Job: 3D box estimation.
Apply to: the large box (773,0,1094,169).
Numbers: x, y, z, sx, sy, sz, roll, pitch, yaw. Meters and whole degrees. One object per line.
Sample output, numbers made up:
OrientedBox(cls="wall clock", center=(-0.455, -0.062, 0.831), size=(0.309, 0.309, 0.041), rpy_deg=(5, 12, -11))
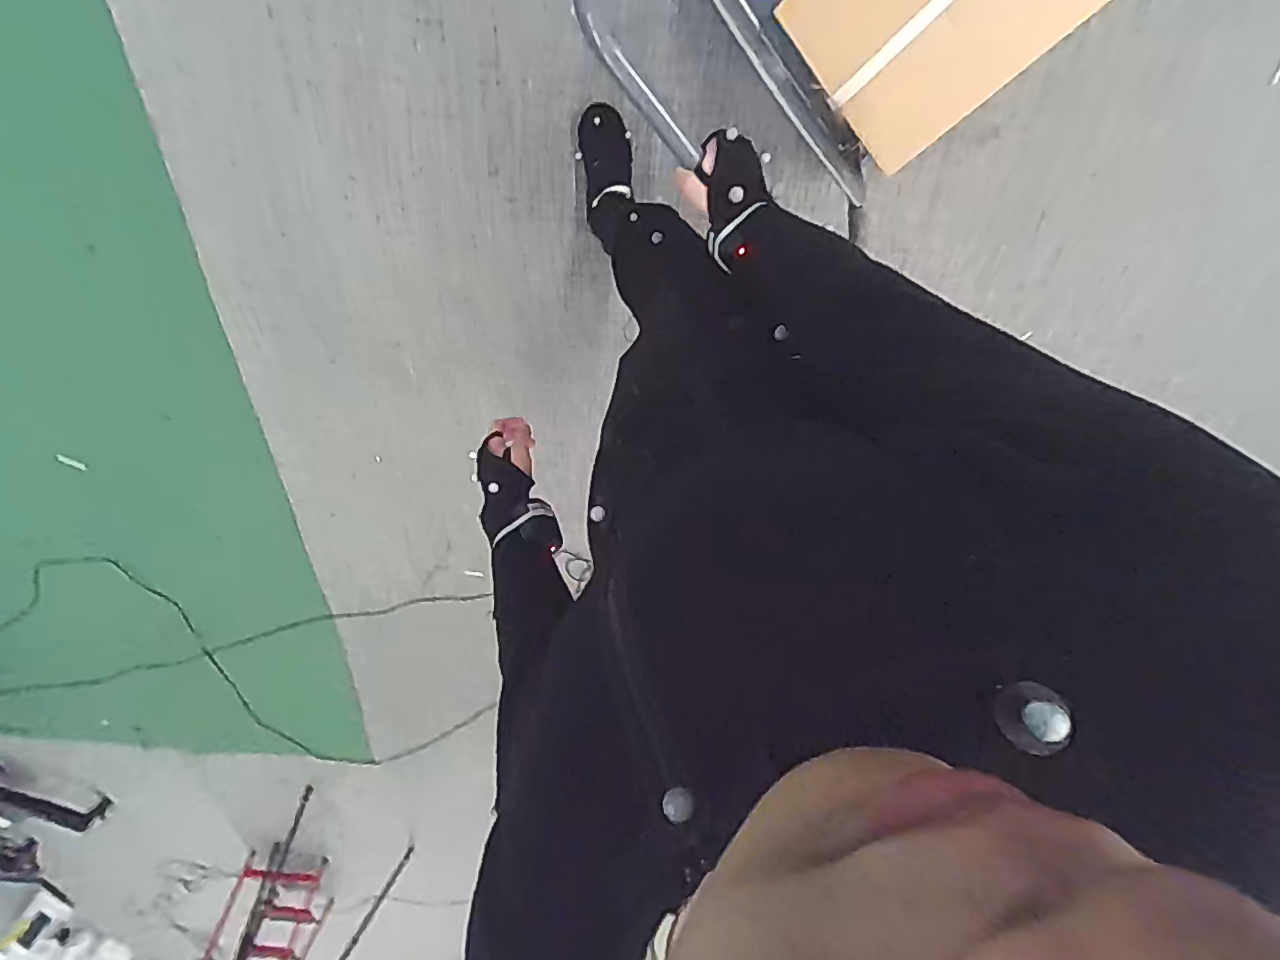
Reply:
OrientedBox(cls="large box", center=(0.462, -0.791, 0.836), size=(0.320, 0.320, 0.408), rpy_deg=(40, 131, -22))
